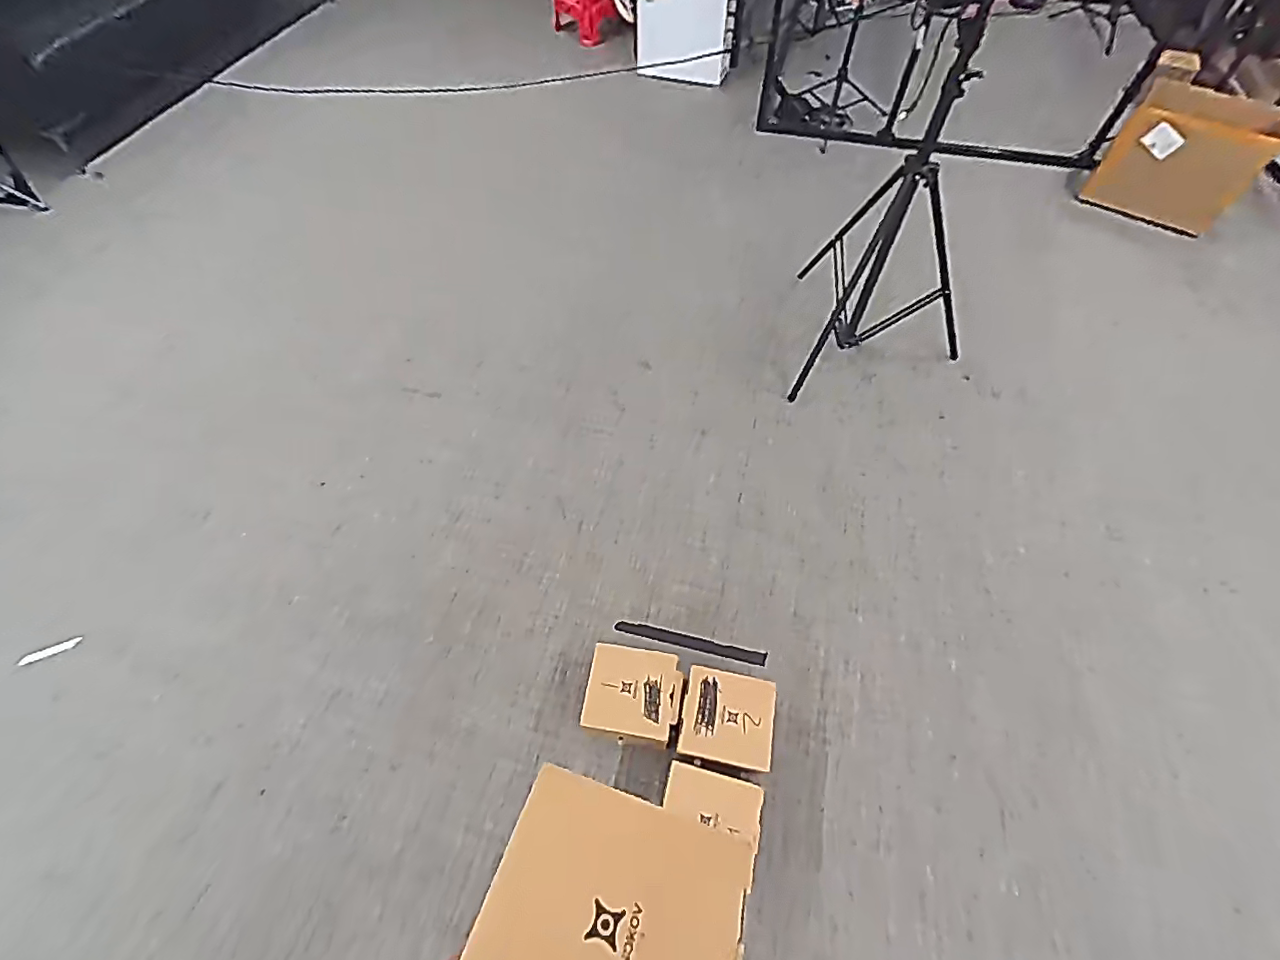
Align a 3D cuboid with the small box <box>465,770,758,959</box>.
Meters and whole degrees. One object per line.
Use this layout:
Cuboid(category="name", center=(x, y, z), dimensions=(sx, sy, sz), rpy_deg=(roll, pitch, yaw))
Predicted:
Cuboid(category="small box", center=(-0.027, 0.364, 0.412), dimensions=(0.179, 0.176, 0.168), rpy_deg=(18, 42, 8))
